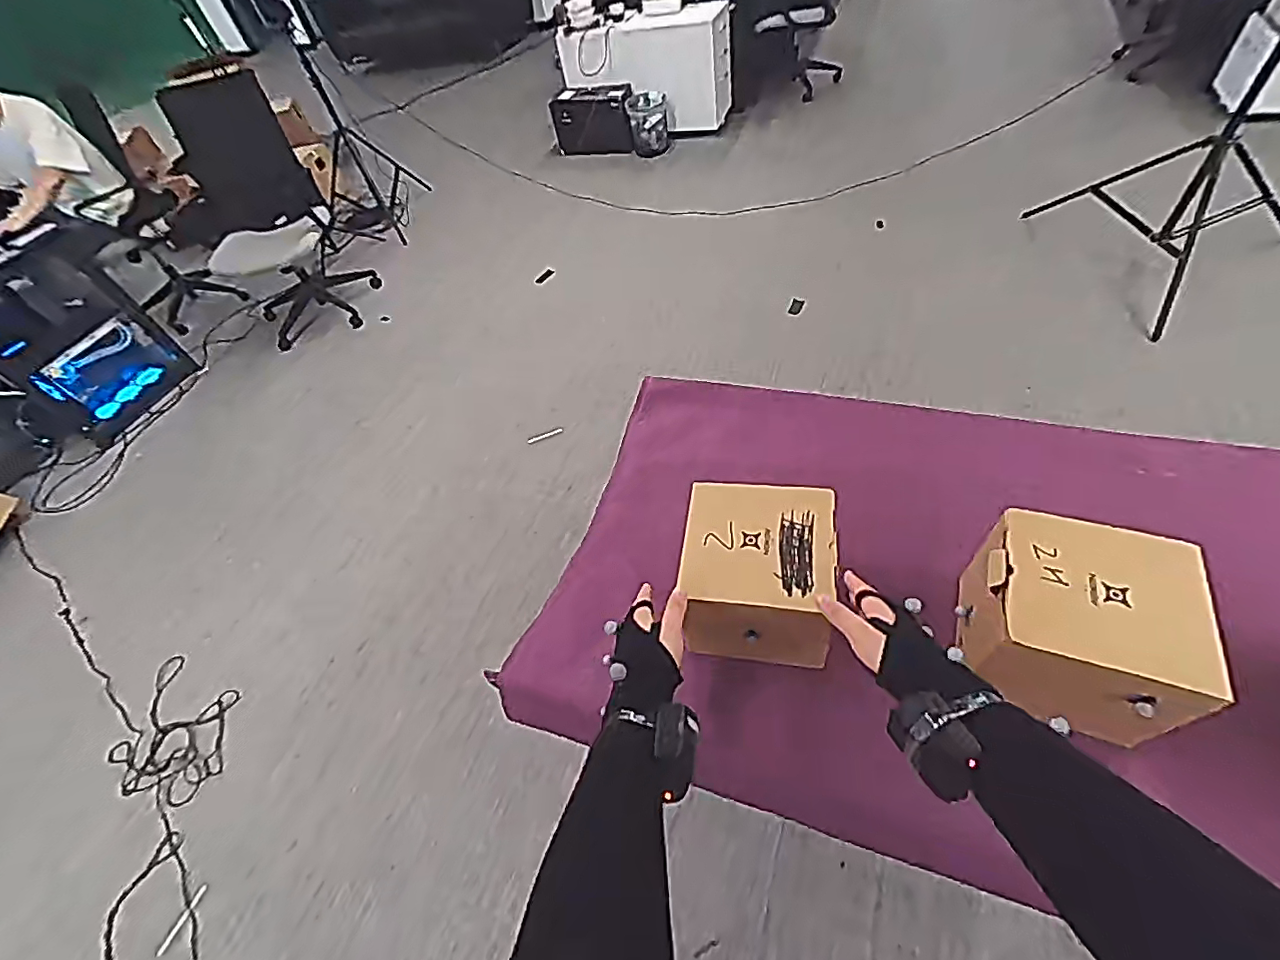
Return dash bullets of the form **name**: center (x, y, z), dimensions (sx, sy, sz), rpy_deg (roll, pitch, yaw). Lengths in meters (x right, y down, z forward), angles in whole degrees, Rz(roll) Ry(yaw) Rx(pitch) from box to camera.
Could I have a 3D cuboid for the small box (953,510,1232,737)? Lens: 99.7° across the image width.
- **small box**: center (0.472, 0.161, 0.597), dimensions (0.179, 0.176, 0.168), rpy_deg (12, 55, 21)
